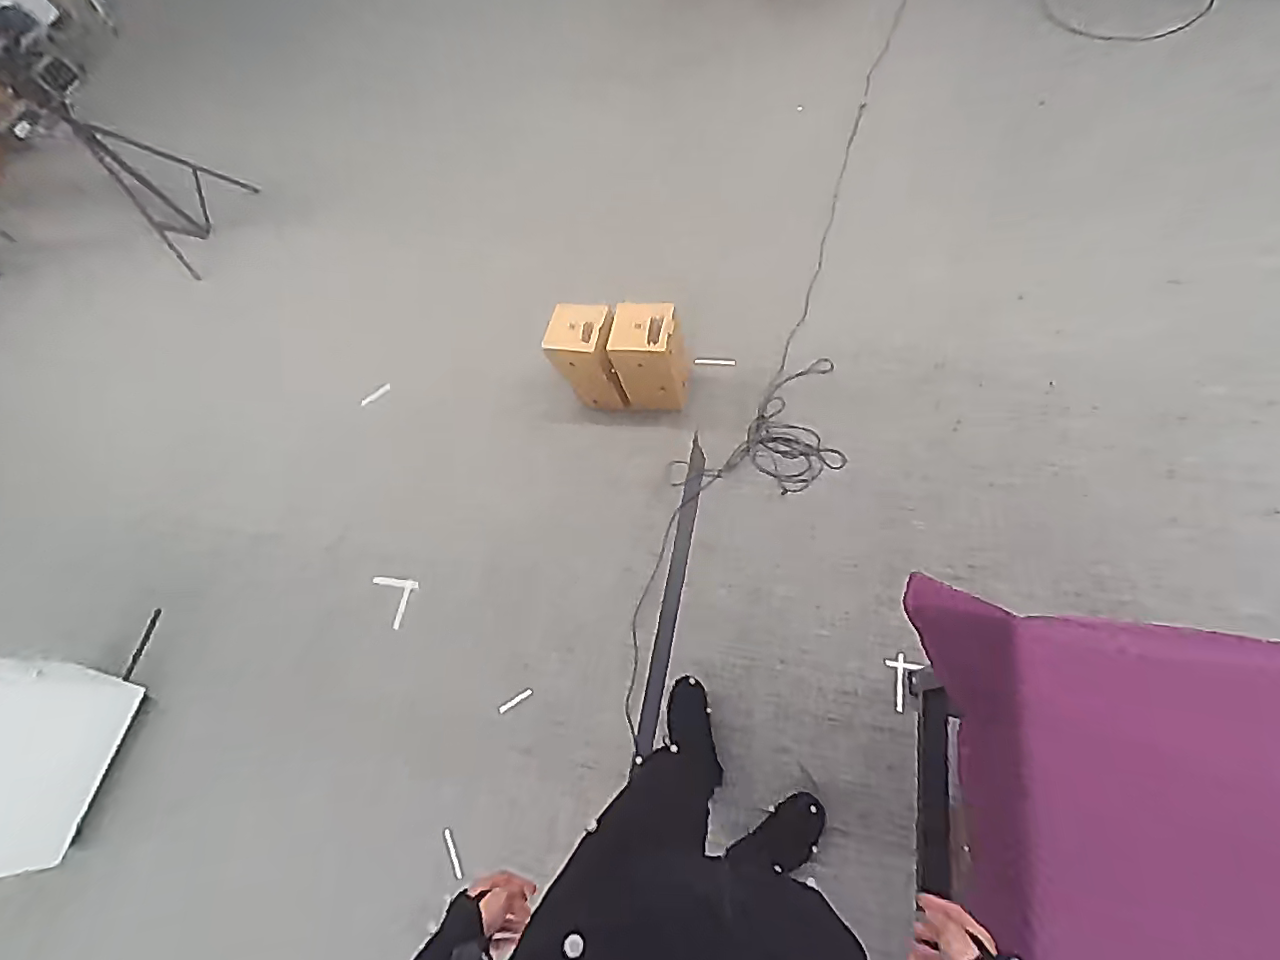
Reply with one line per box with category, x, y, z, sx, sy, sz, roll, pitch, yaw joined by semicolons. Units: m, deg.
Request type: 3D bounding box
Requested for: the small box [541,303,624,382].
small box;-0.167;-0.414;1.640;0.179;0.176;0.168;9;70;21
